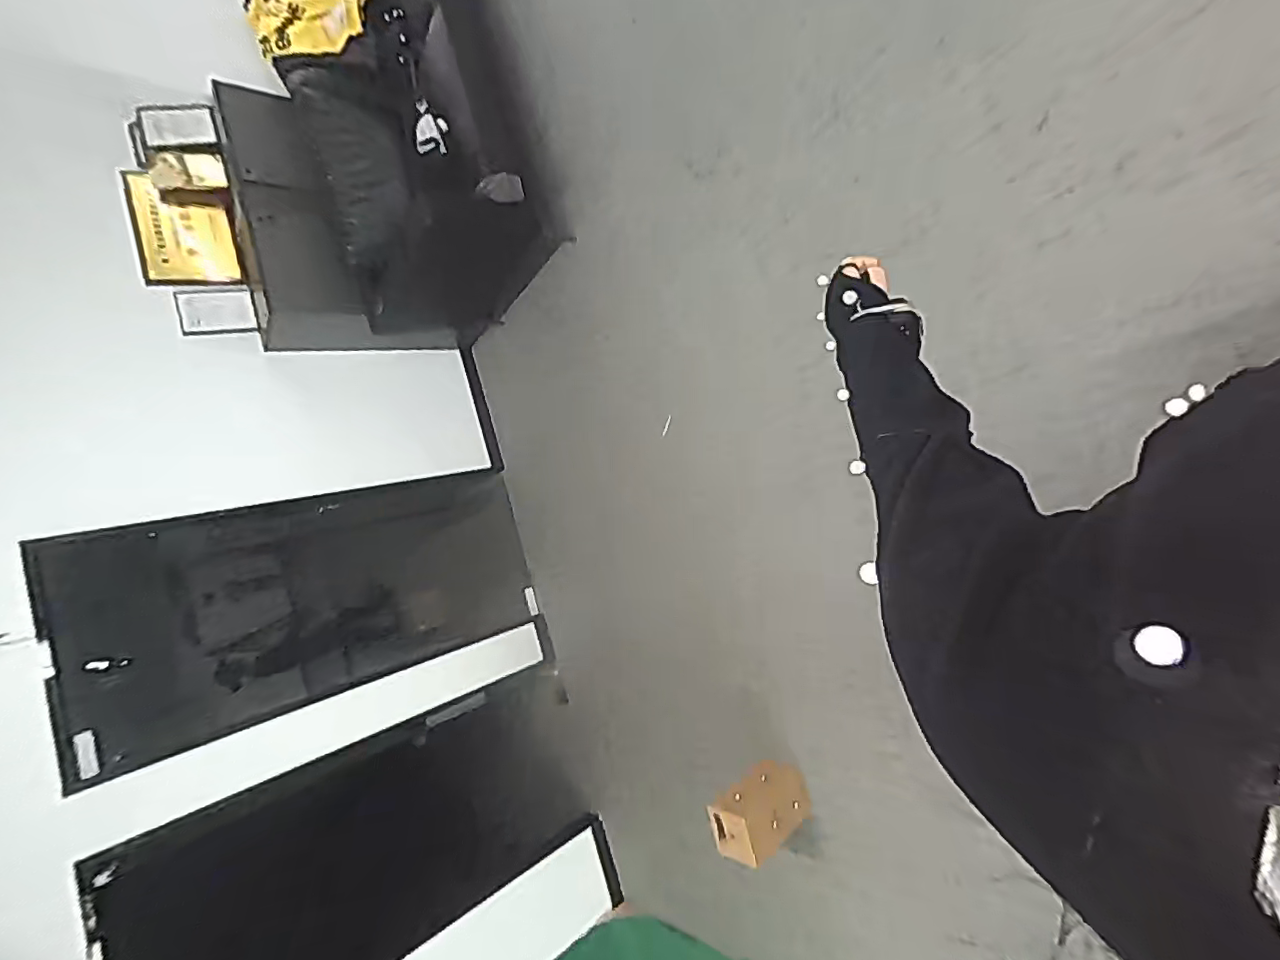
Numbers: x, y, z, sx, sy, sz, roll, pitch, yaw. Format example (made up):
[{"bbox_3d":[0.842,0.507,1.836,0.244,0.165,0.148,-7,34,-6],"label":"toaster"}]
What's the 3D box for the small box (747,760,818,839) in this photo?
[{"bbox_3d":[0.523,1.148,1.961,0.179,0.176,0.168,-14,89,51],"label":"small box"}]
